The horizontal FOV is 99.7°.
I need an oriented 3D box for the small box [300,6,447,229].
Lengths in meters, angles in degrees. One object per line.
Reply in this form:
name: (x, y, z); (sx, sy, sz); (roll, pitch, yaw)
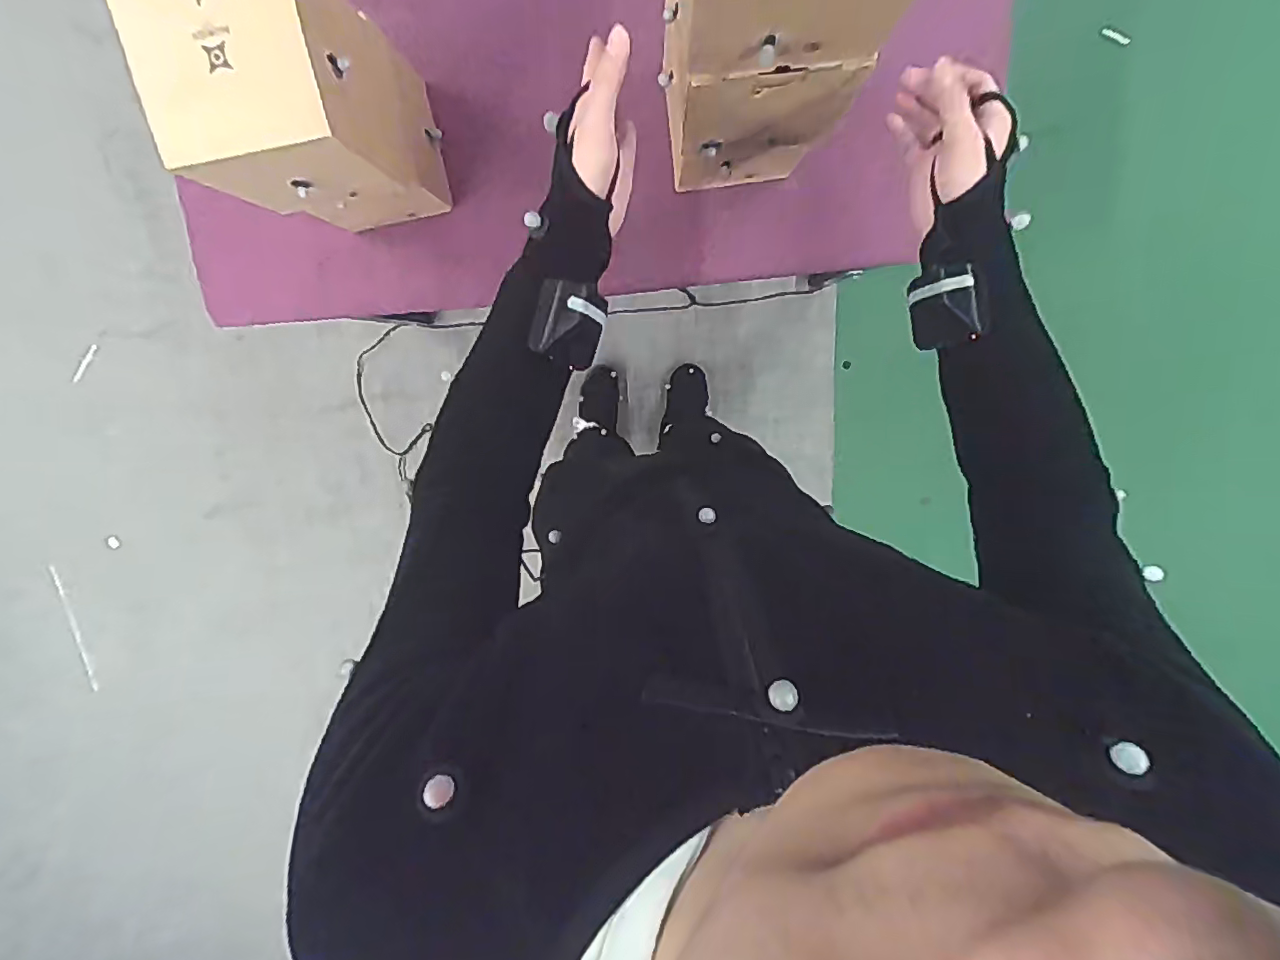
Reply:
small box: (-0.375, -0.451, 0.702); (0.168, 0.176, 0.179); (-10, 102, 4)

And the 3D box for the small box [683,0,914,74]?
small box: (0.112, -0.421, 0.365); (0.168, 0.176, 0.179); (-3, 102, 3)

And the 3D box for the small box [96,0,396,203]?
small box: (-0.374, -0.397, 0.545); (0.168, 0.176, 0.179); (-9, 103, 2)

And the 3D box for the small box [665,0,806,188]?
small box: (0.121, -0.490, 0.686); (0.168, 0.176, 0.179); (-6, 101, 3)

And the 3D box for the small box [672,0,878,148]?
small box: (0.119, -0.448, 0.526); (0.168, 0.176, 0.179); (-4, 100, 2)
